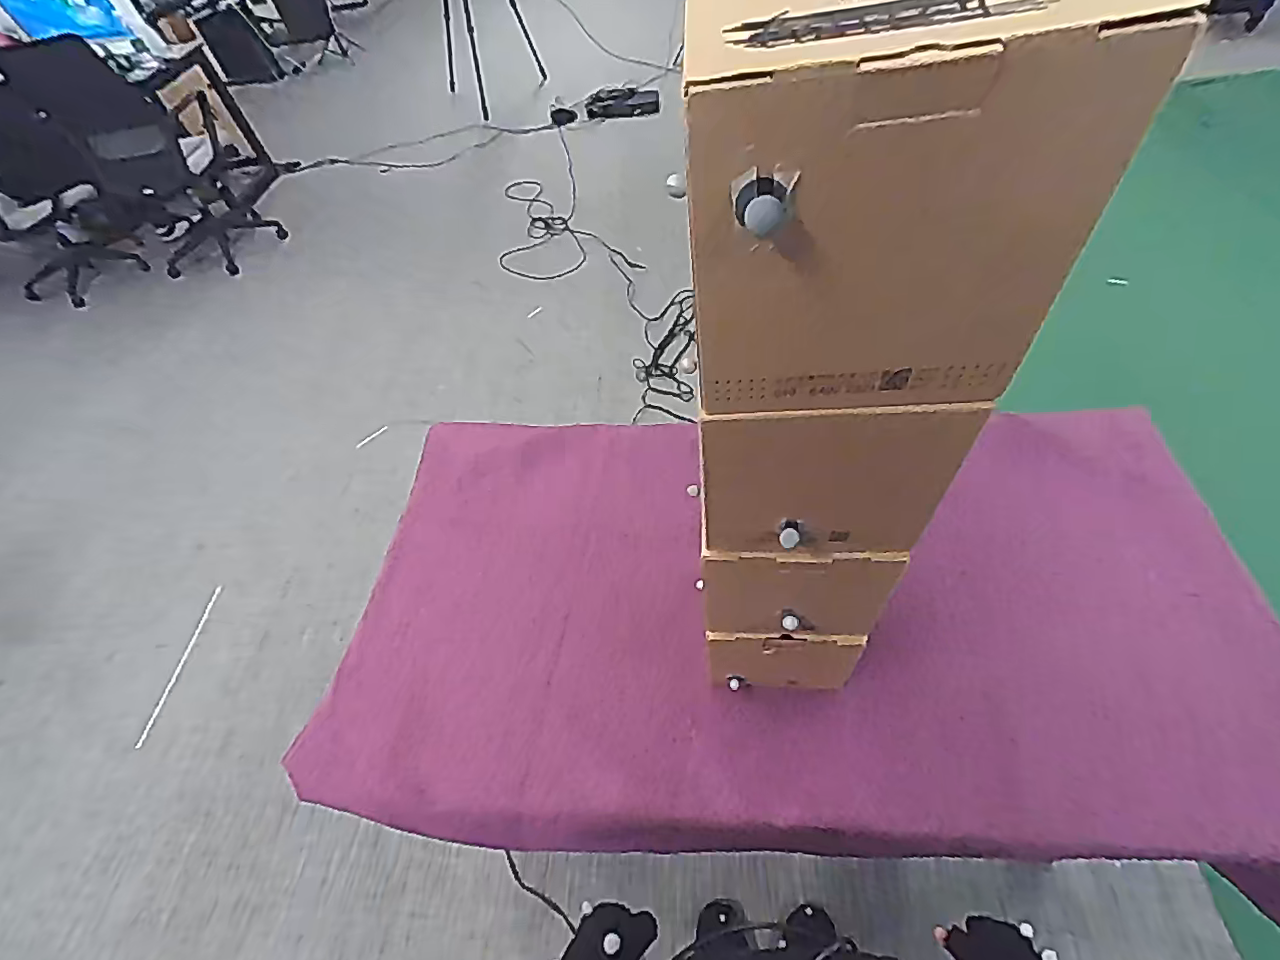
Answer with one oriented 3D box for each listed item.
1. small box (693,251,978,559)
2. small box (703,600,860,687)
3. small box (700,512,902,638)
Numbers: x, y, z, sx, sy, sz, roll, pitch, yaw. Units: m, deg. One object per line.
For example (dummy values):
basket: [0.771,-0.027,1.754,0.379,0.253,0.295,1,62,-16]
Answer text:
small box: [0.129,-0.055,0.431,0.168,0.176,0.179,-1,53,9]
small box: [0.168,0.150,0.683,0.168,0.176,0.179,0,53,8]
small box: [0.147,0.046,0.558,0.168,0.176,0.179,-1,53,9]
